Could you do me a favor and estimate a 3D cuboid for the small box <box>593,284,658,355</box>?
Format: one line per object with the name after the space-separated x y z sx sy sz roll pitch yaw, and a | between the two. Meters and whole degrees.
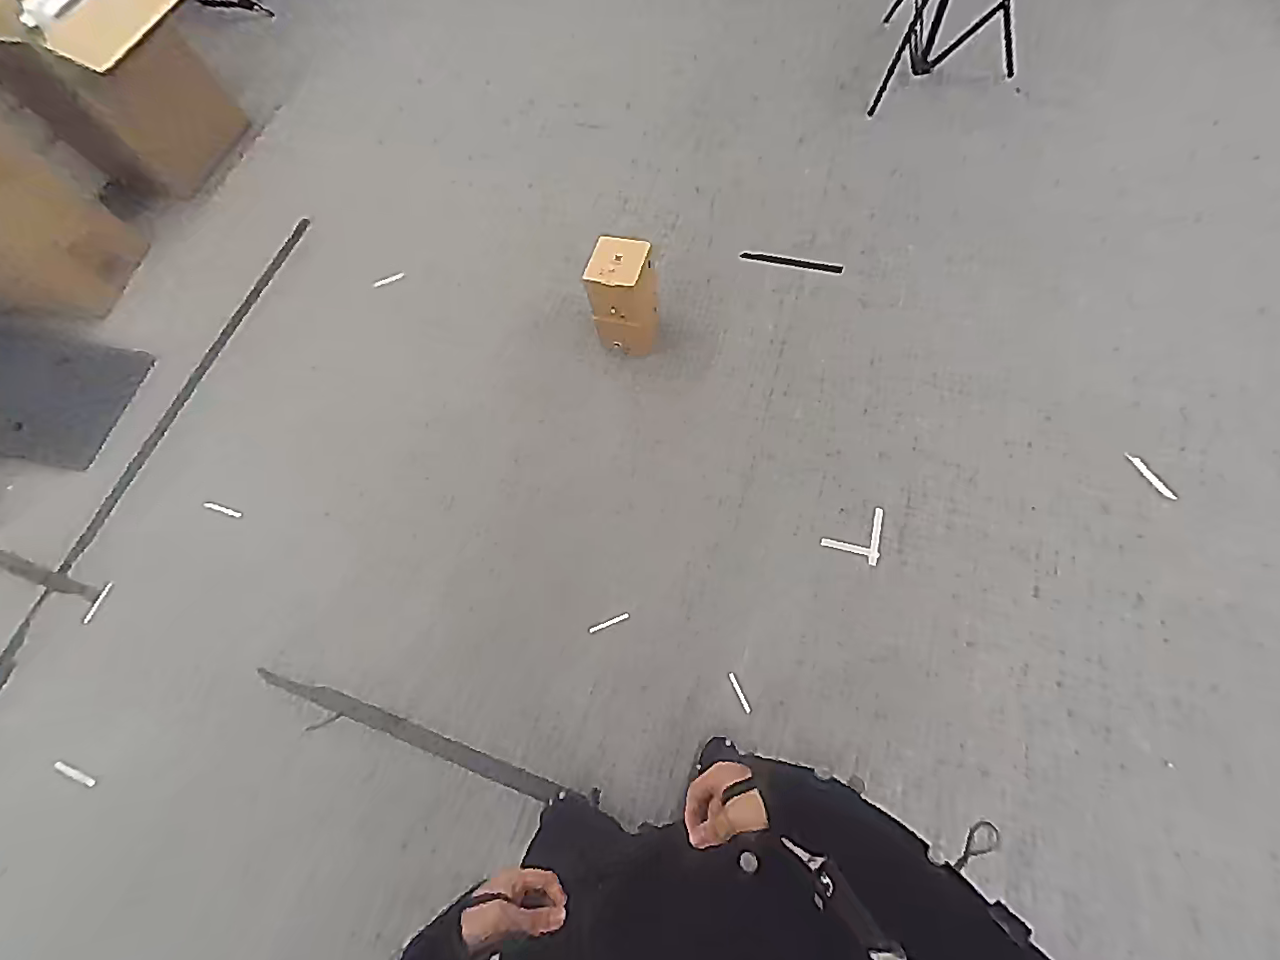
-0.042 -0.552 1.824 0.168 0.176 0.179 14 70 14 | small box

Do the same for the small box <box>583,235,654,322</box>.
-0.058 -0.622 1.676 0.168 0.176 0.179 14 71 14 | small box
